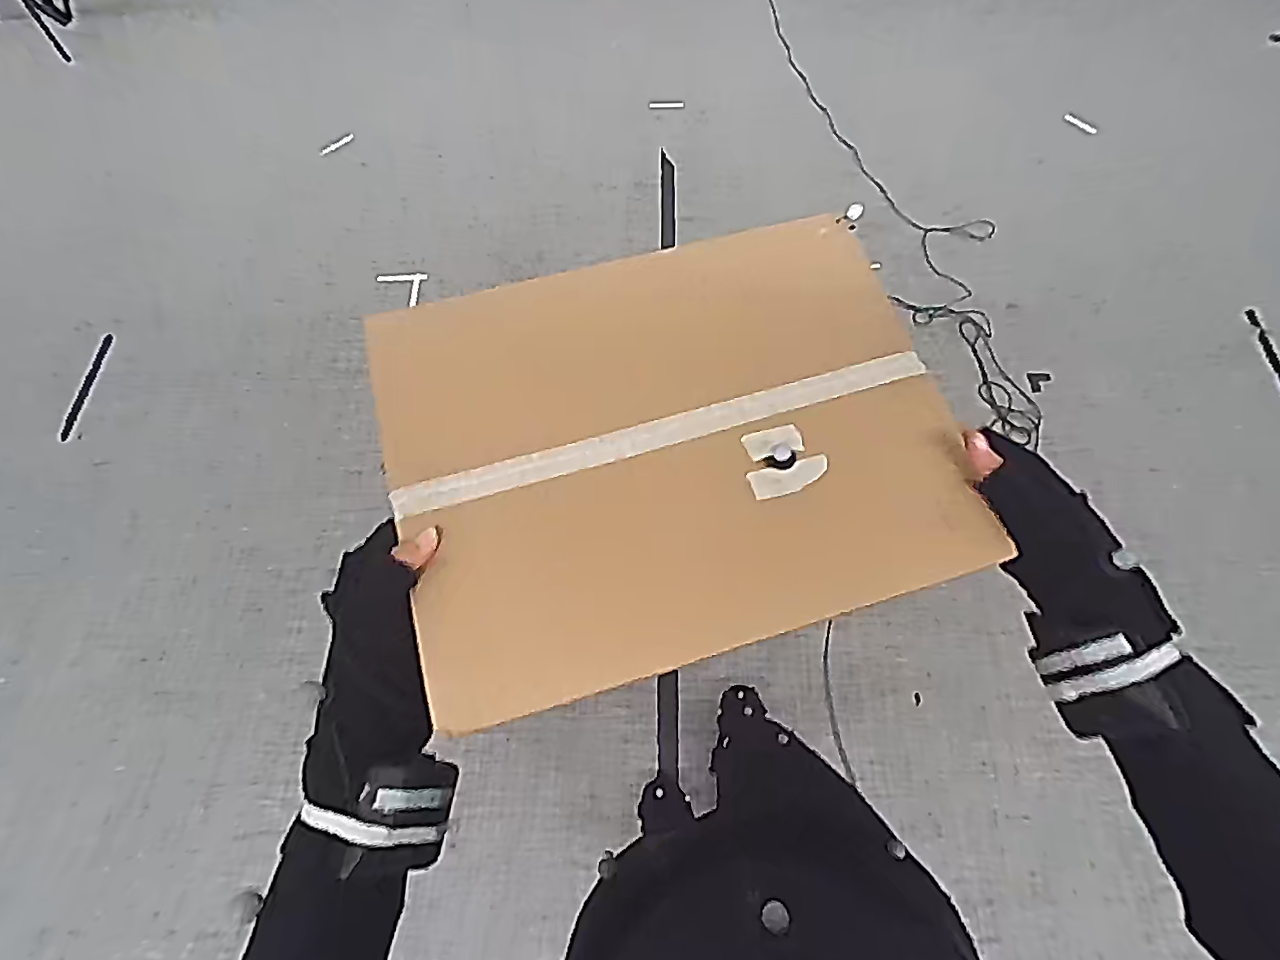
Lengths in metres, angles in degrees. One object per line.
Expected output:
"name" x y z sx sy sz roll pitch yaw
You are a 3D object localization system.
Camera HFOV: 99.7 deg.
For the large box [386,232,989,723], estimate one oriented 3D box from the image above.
"large box" 0.020 0.016 0.556 0.408 0.320 0.320 -15 73 -7
